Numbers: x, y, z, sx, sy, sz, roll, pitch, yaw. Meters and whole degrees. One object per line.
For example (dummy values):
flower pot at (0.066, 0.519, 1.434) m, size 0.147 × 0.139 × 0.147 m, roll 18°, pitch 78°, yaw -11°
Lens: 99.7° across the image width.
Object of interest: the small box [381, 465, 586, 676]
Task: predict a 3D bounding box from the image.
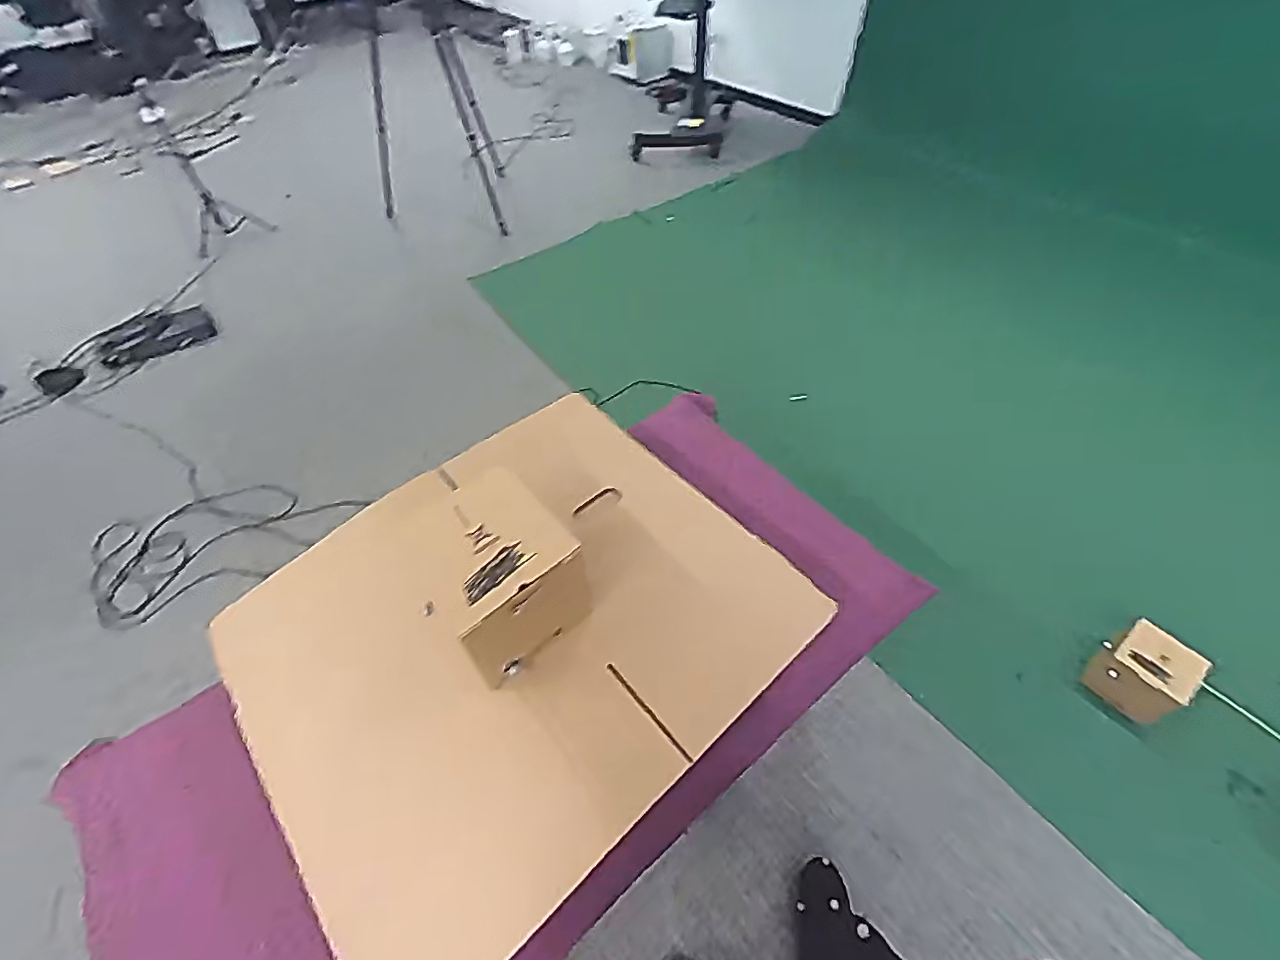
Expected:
small box at (-0.184, 0.121, 0.681) m, size 0.168 × 0.176 × 0.179 m, roll -35°, pitch 58°, yaw -25°
